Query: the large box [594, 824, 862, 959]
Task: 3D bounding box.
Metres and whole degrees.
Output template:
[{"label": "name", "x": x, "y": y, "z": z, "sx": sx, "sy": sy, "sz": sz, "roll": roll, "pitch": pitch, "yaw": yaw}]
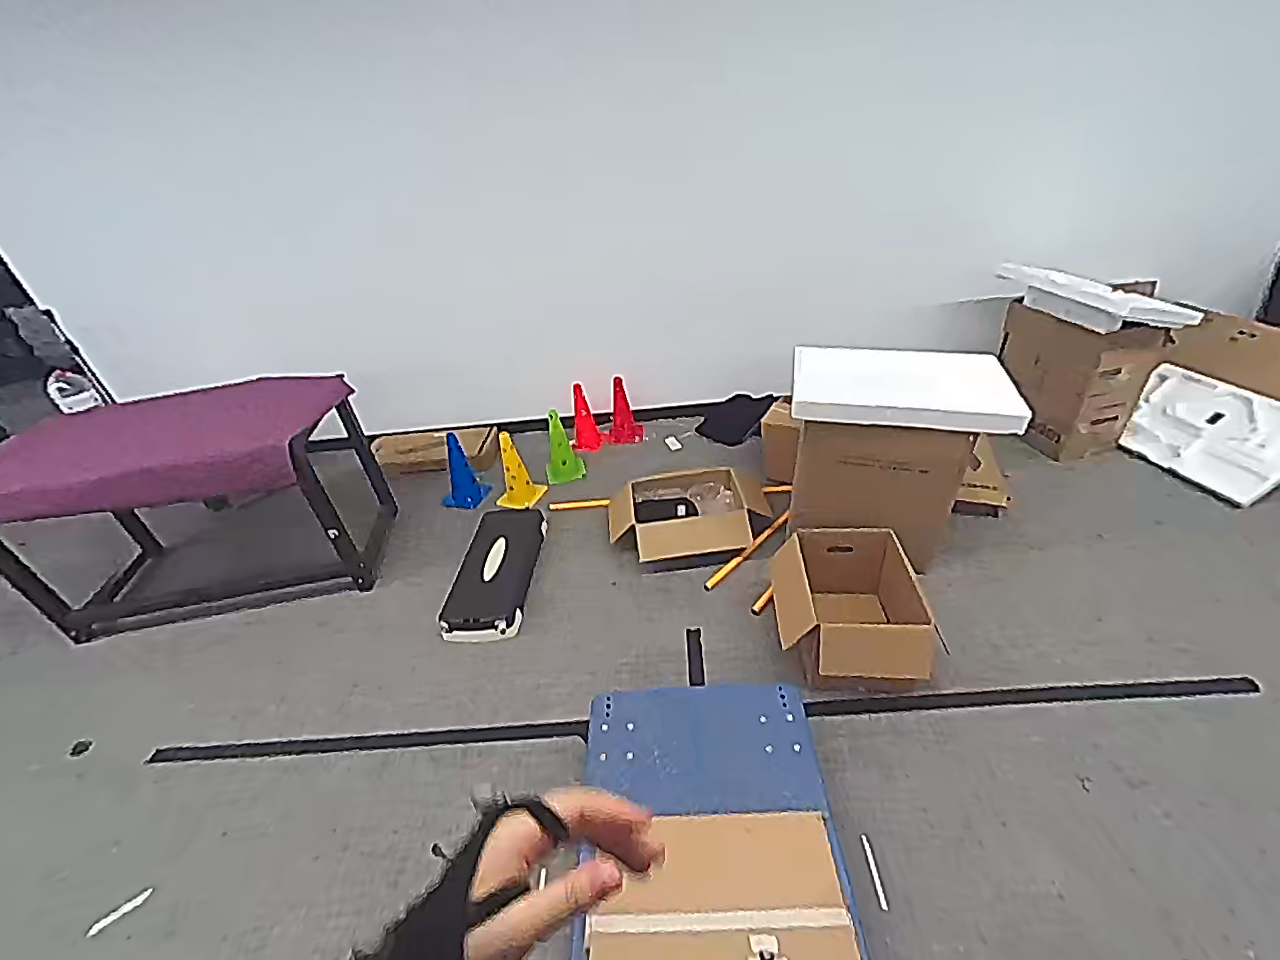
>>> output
[{"label": "large box", "x": 0.138, "y": 0.821, "z": 0.903, "sx": 0.408, "sy": 0.320, "sz": 0.320, "roll": -4, "pitch": 34, "yaw": 3}]
